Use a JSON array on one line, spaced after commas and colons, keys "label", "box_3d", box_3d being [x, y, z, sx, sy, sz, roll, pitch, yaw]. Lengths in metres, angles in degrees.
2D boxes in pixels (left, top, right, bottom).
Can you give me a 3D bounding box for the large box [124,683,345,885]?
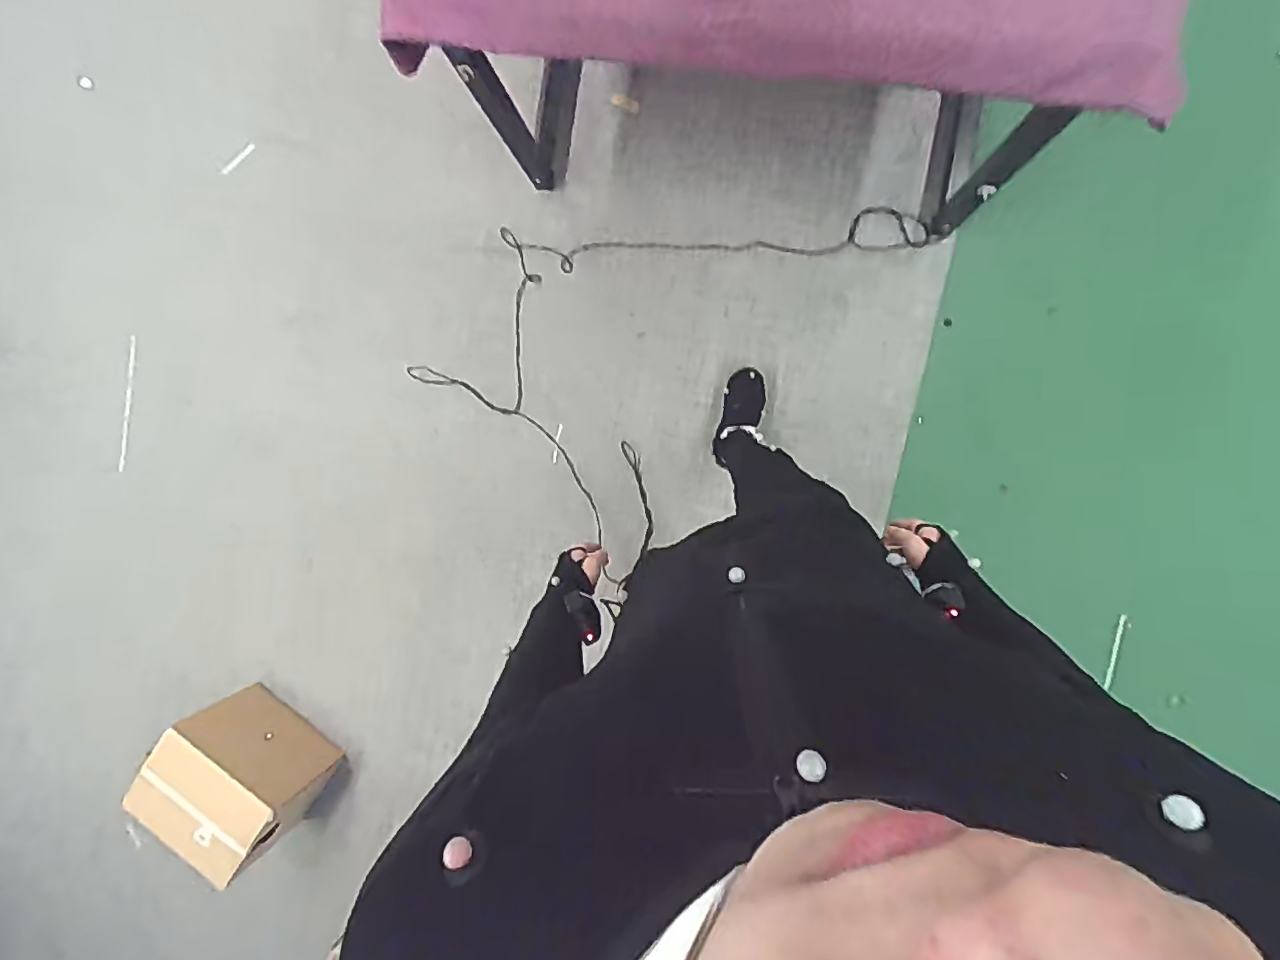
[{"label": "large box", "box_3d": [-1.251, 0.929, 1.702, 0.408, 0.320, 0.320, 35, 98, 3]}]
